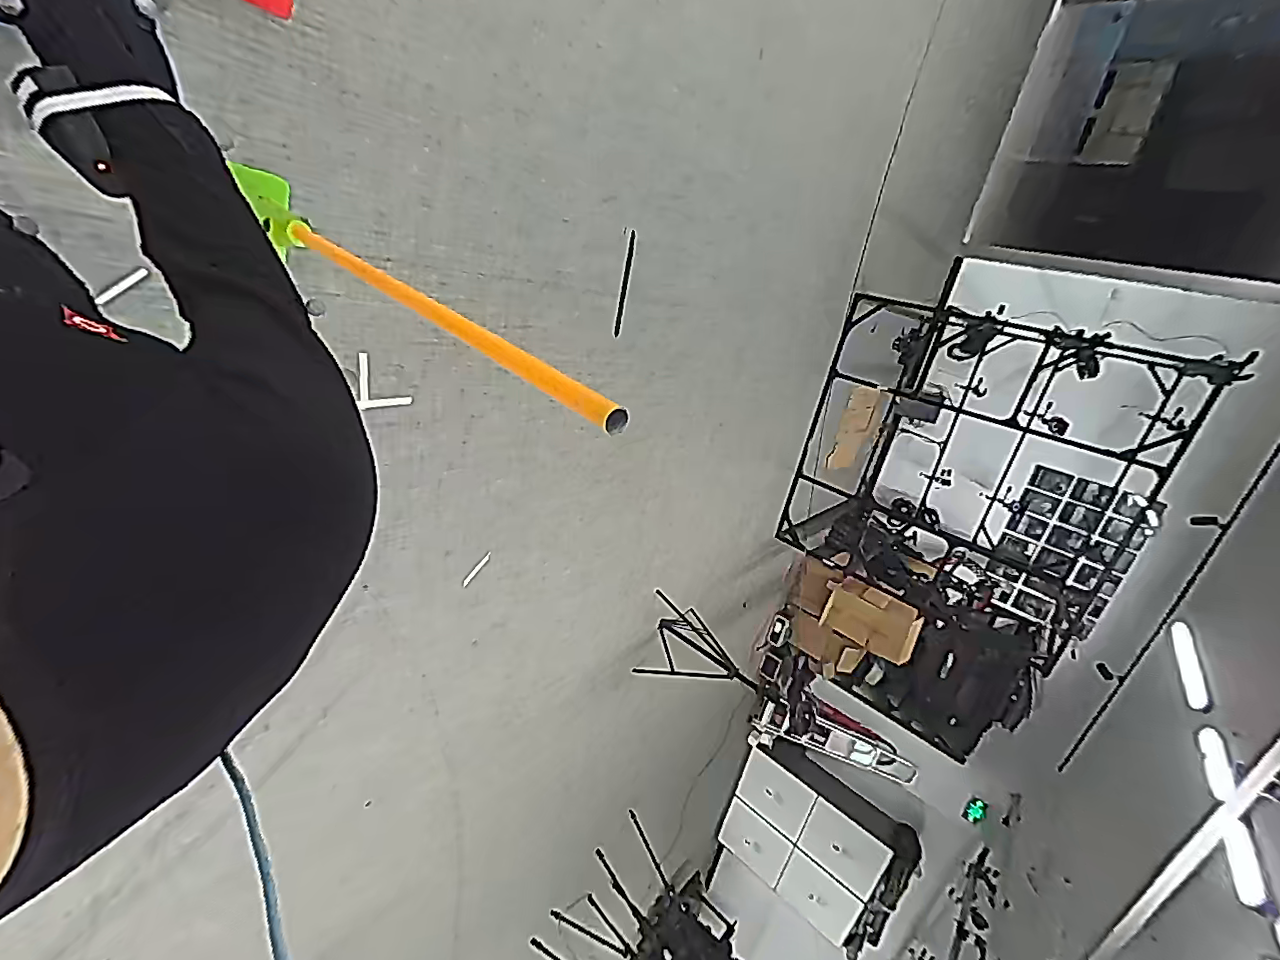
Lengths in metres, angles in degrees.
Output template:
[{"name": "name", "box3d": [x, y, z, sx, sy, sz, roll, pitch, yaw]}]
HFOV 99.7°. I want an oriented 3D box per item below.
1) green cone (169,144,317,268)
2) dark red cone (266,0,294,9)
[{"name": "green cone", "box3d": [-0.727, -0.500, 1.041, 0.202, 0.368, 0.200, -9, 120, -52]}, {"name": "dark red cone", "box3d": [-0.602, -0.939, 0.875, 0.201, 0.394, 0.202, -15, 125, -51]}]
